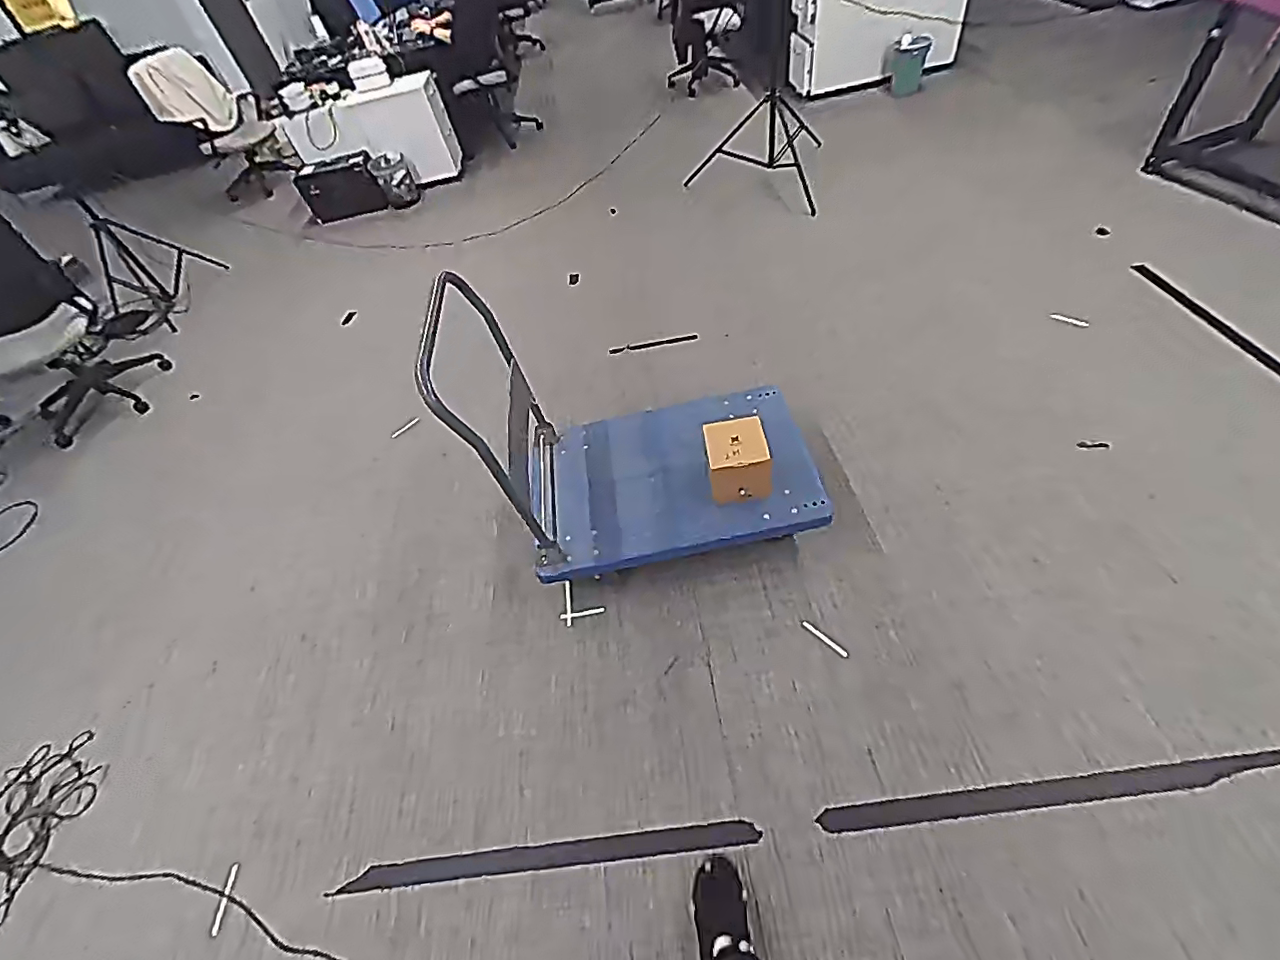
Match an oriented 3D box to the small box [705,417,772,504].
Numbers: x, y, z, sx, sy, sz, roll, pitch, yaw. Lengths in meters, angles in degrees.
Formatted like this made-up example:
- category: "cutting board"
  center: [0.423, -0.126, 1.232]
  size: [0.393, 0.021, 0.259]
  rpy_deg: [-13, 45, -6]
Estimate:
- category: "small box"
  center: [0.284, -0.054, 1.571]
  size: [0.168, 0.176, 0.179]
  rpy_deg: [-9, 50, 6]
